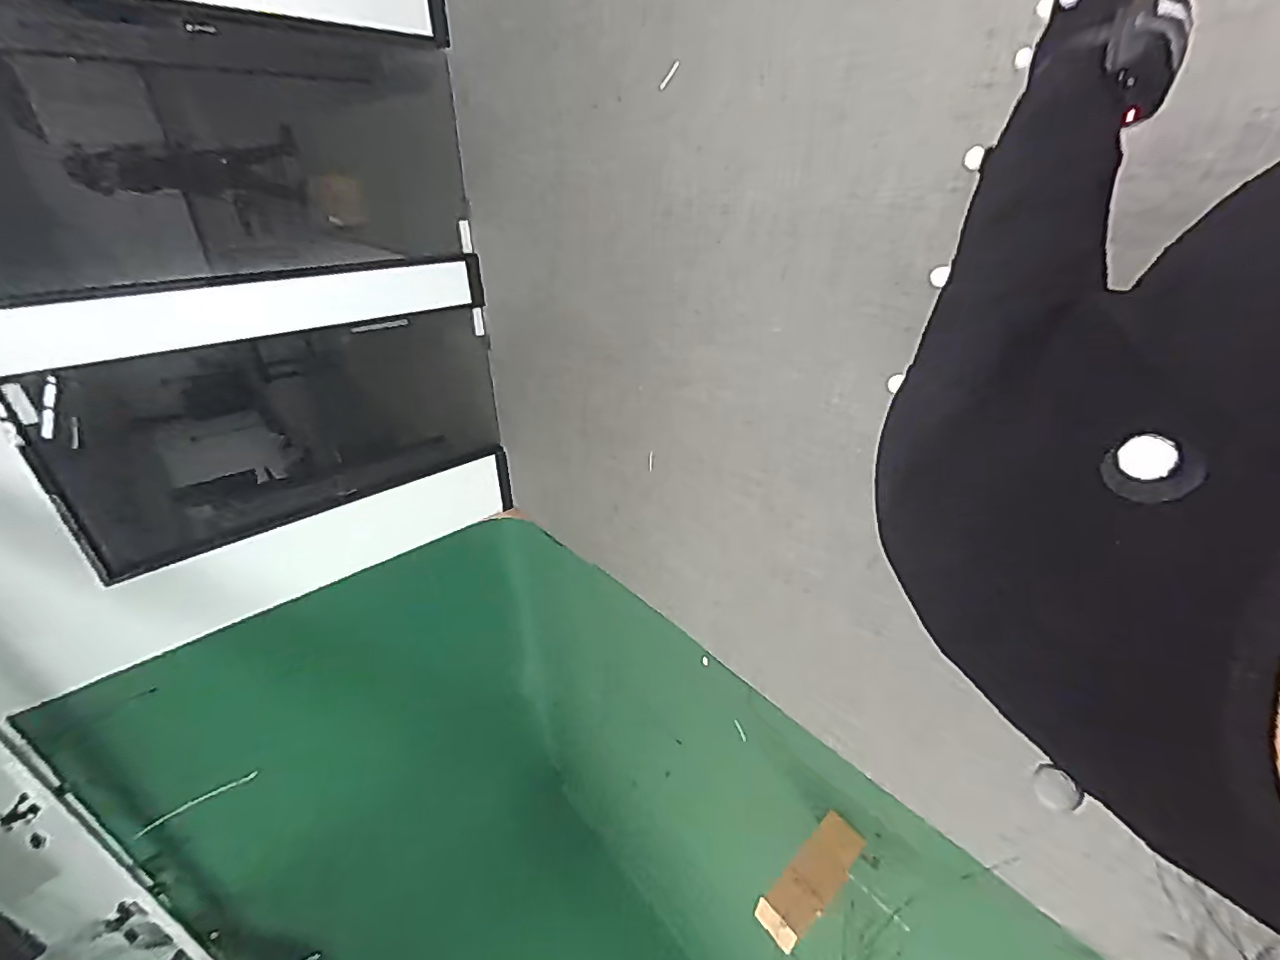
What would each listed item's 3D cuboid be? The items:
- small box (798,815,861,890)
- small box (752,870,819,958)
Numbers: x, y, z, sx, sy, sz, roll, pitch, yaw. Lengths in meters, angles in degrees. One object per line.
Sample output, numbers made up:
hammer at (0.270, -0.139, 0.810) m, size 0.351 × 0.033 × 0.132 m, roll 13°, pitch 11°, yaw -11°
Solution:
small box at (0.797, 1.554, 2.267) m, size 0.168 × 0.176 × 0.179 m, roll 37°, pitch 135°, yaw 35°
small box at (0.557, 1.653, 2.065) m, size 0.168 × 0.176 × 0.179 m, roll 34°, pitch 134°, yaw 38°
